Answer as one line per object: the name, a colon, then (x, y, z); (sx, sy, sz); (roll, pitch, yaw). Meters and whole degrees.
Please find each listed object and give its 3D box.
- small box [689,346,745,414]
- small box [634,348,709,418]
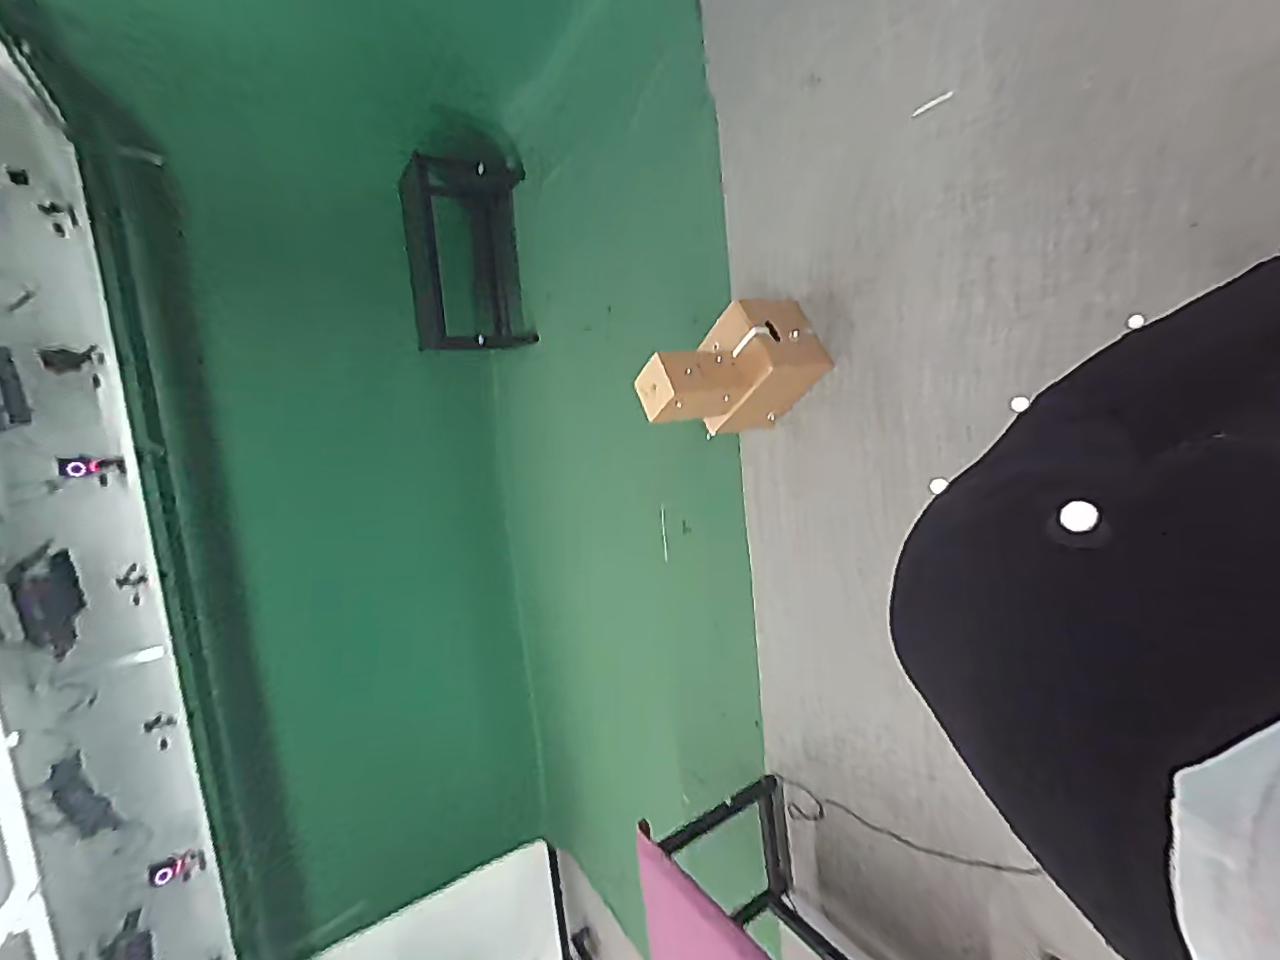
small box: (0.247, -0.354, 1.899); (0.179, 0.176, 0.168); (-50, 58, 51)
small box: (0.110, -0.328, 1.811); (0.179, 0.176, 0.168); (-47, 59, 52)
